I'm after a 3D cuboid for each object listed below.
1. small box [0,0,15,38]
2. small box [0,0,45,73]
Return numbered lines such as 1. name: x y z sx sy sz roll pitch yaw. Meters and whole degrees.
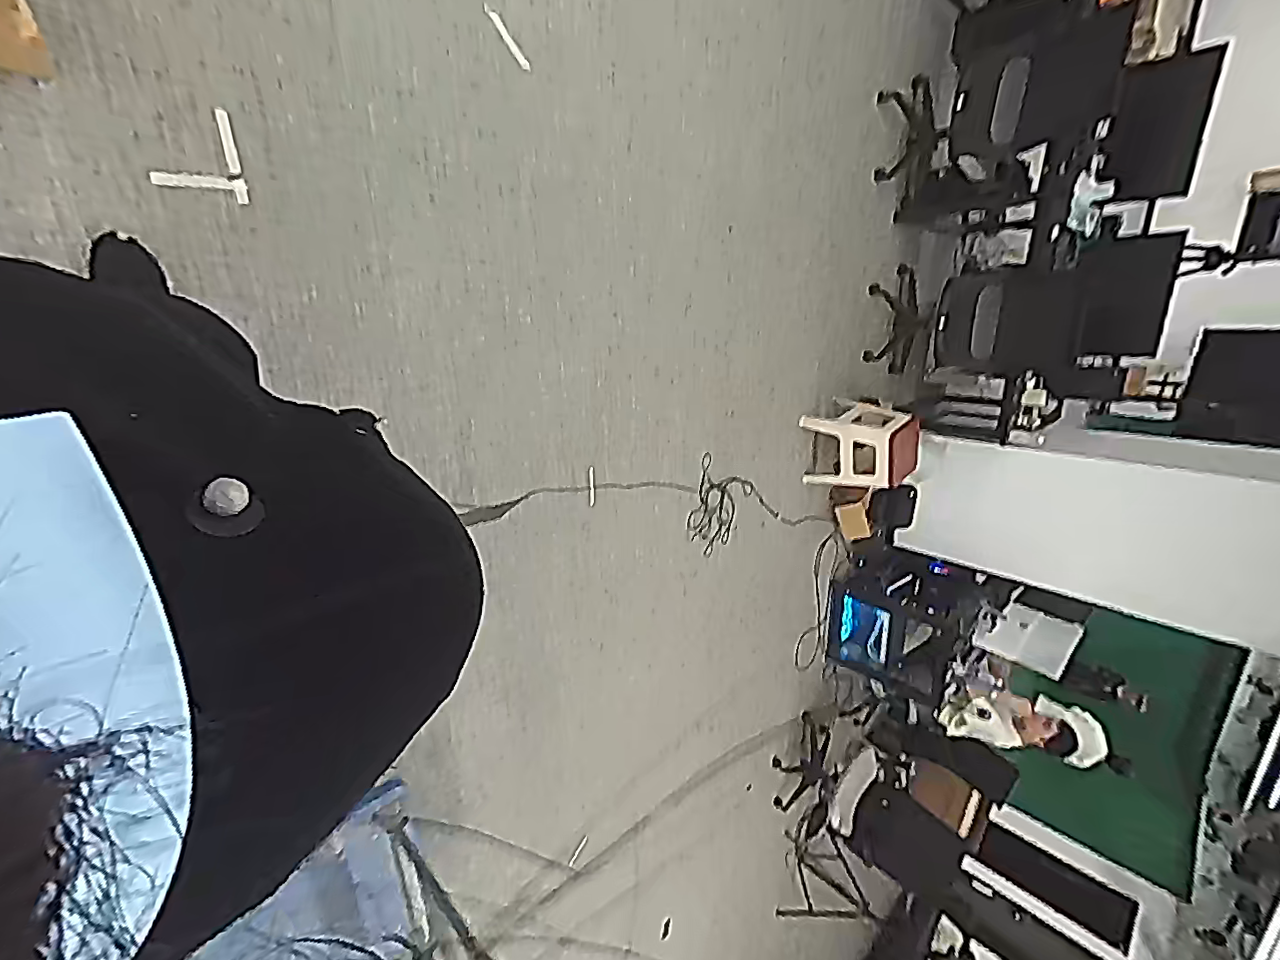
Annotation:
1. small box: -0.943 -0.714 0.682 0.168 0.176 0.179 -15 112 -41
2. small box: -1.049 -0.741 0.803 0.168 0.176 0.179 -29 120 -35
